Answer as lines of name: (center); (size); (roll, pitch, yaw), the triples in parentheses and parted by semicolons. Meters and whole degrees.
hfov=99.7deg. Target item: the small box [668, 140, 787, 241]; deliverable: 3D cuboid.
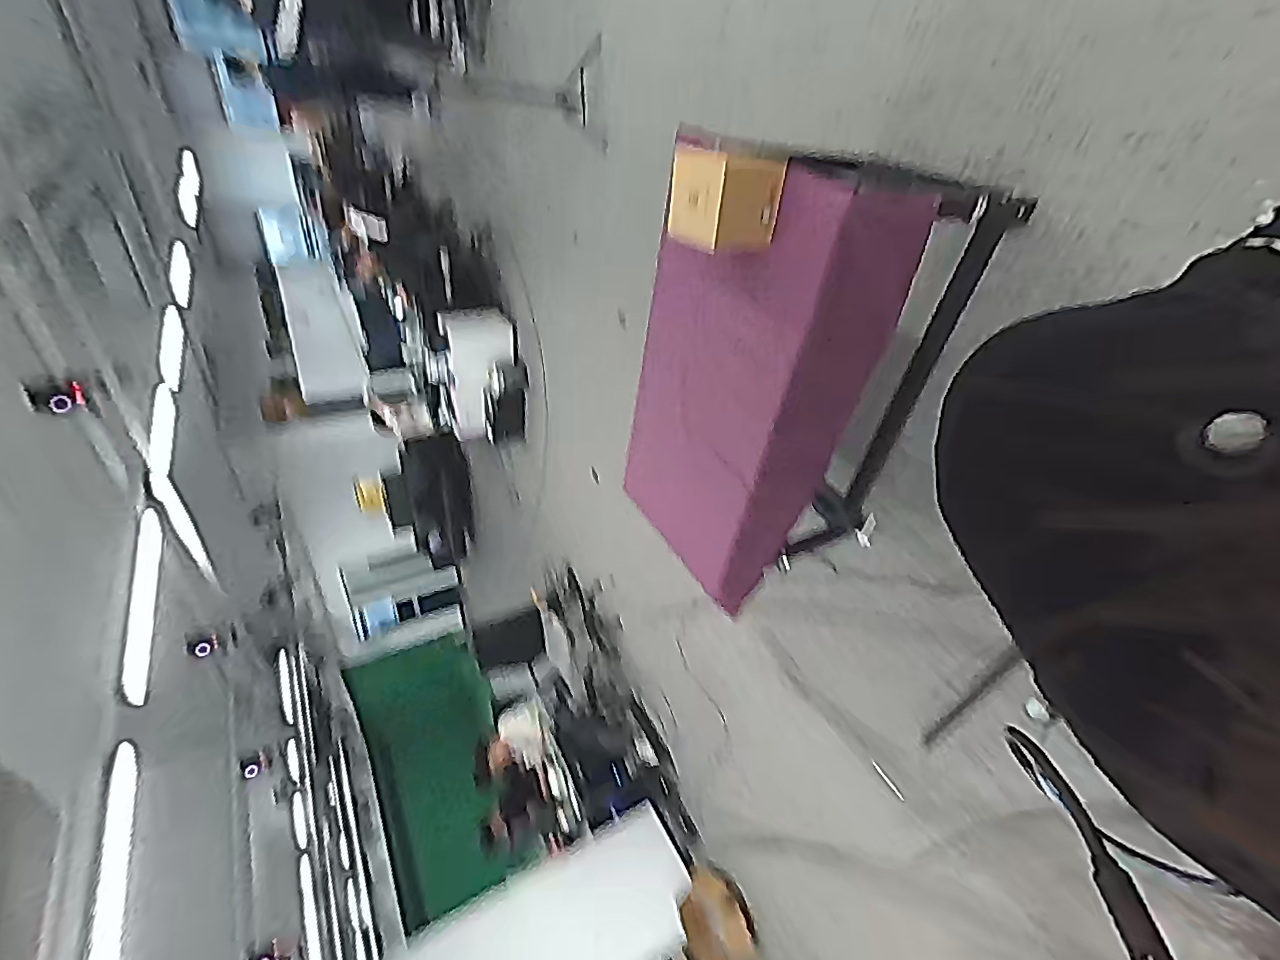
small box: (0.184, -0.627, 1.171); (0.179, 0.176, 0.168); (47, 143, 42)
